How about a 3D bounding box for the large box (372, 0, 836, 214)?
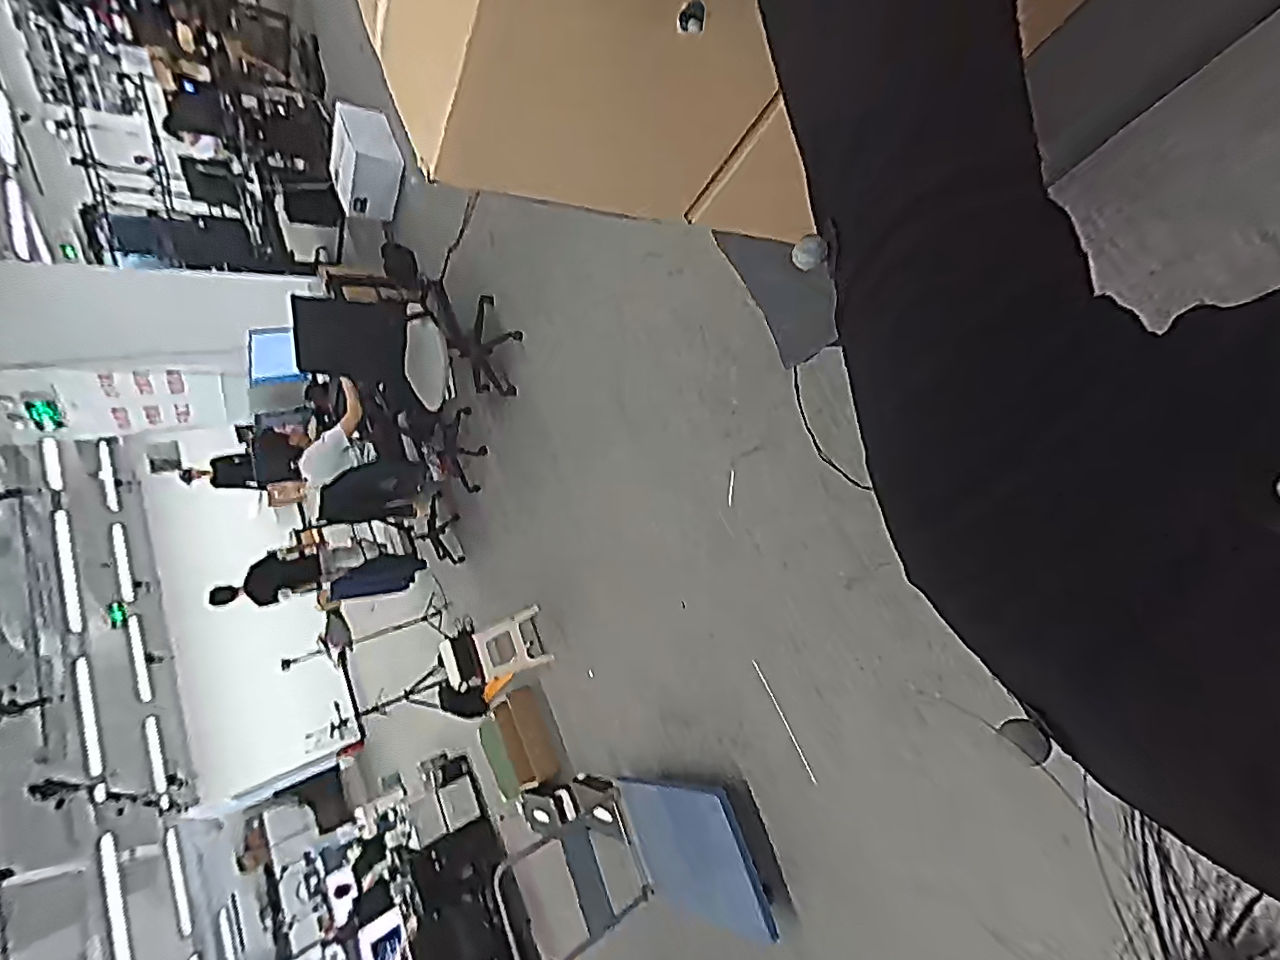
[{"bbox_3d":[-0.018,-0.516,0.469,0.408,0.320,0.320,-40,68,50],"label":"large box"}]
